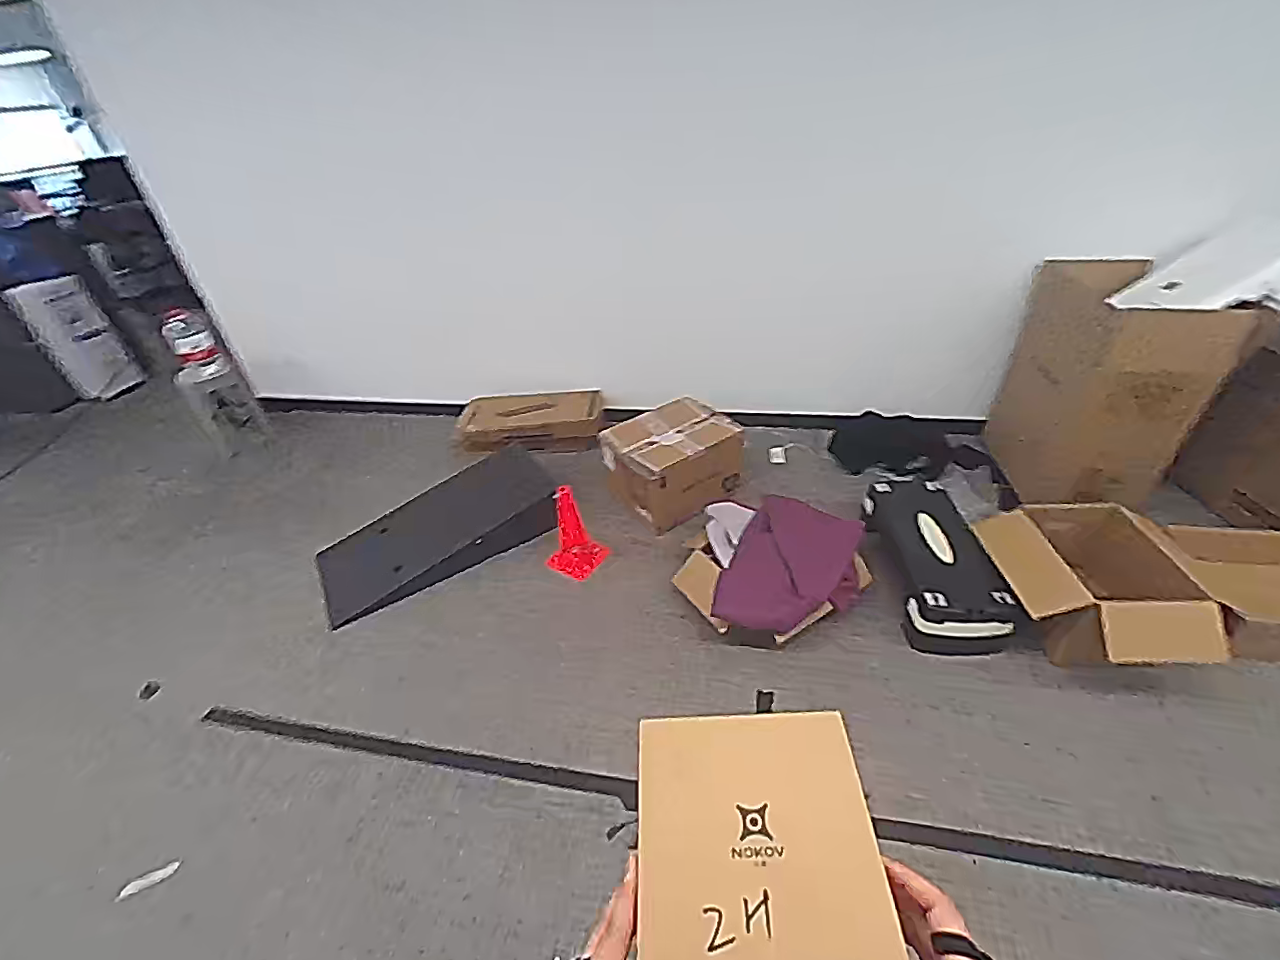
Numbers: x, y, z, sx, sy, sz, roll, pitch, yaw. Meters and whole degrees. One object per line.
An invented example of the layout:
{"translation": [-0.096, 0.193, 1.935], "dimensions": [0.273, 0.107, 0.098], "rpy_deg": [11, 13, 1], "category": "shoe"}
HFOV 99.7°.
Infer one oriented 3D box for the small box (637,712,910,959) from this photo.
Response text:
{"translation": [0.088, 0.309, 0.425], "dimensions": [0.168, 0.176, 0.179], "rpy_deg": [-5, 40, 4], "category": "small box"}
